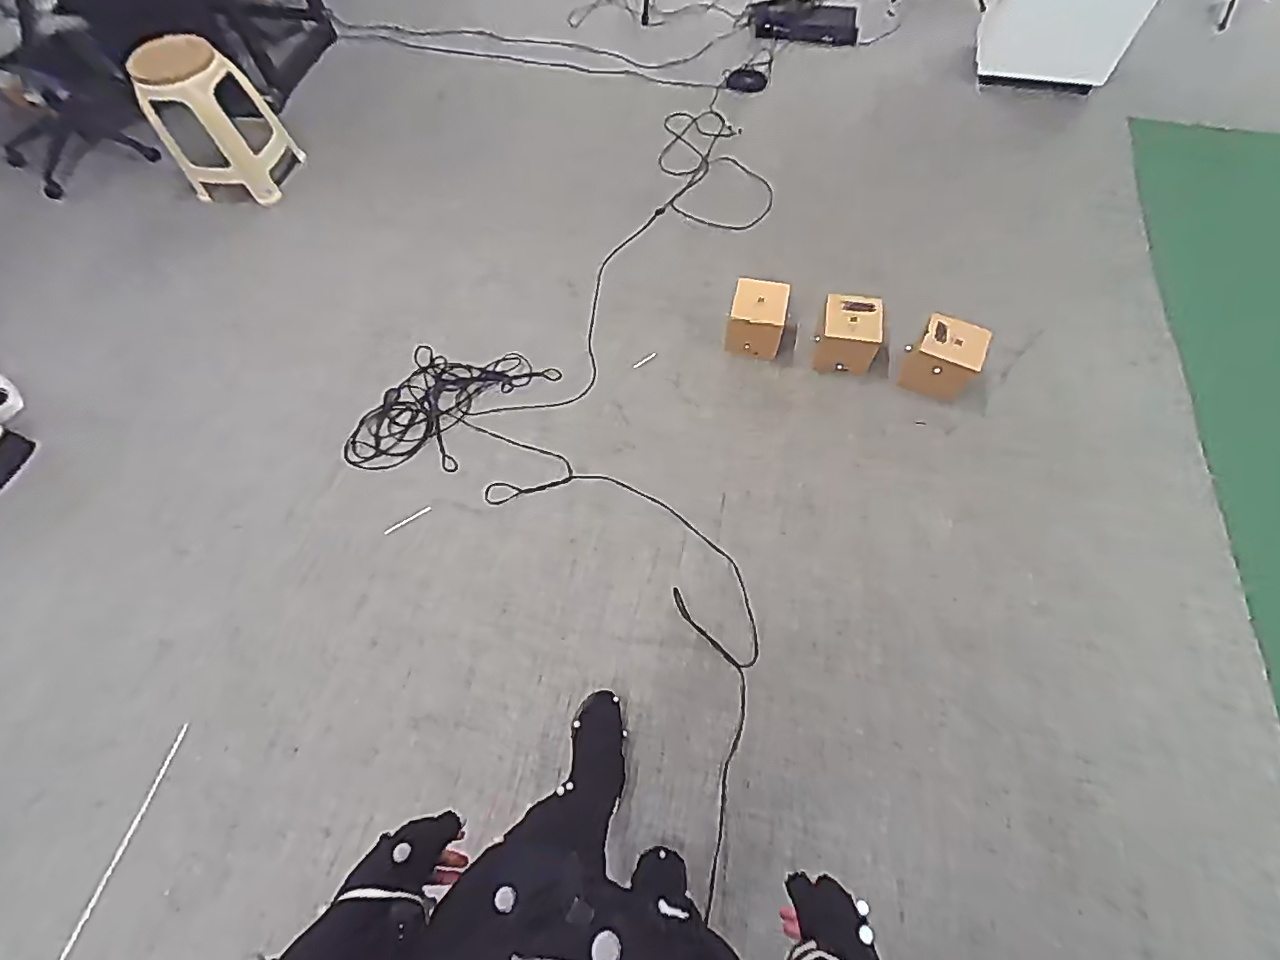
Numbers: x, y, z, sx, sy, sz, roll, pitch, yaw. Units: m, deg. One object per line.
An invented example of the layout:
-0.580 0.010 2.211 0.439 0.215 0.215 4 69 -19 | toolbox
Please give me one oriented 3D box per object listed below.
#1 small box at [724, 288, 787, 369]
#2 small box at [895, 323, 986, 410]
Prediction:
0.373 -0.491 1.762 0.168 0.176 0.179 11 64 8 | small box
0.915 -0.343 1.659 0.179 0.176 0.168 24 66 13 | small box
